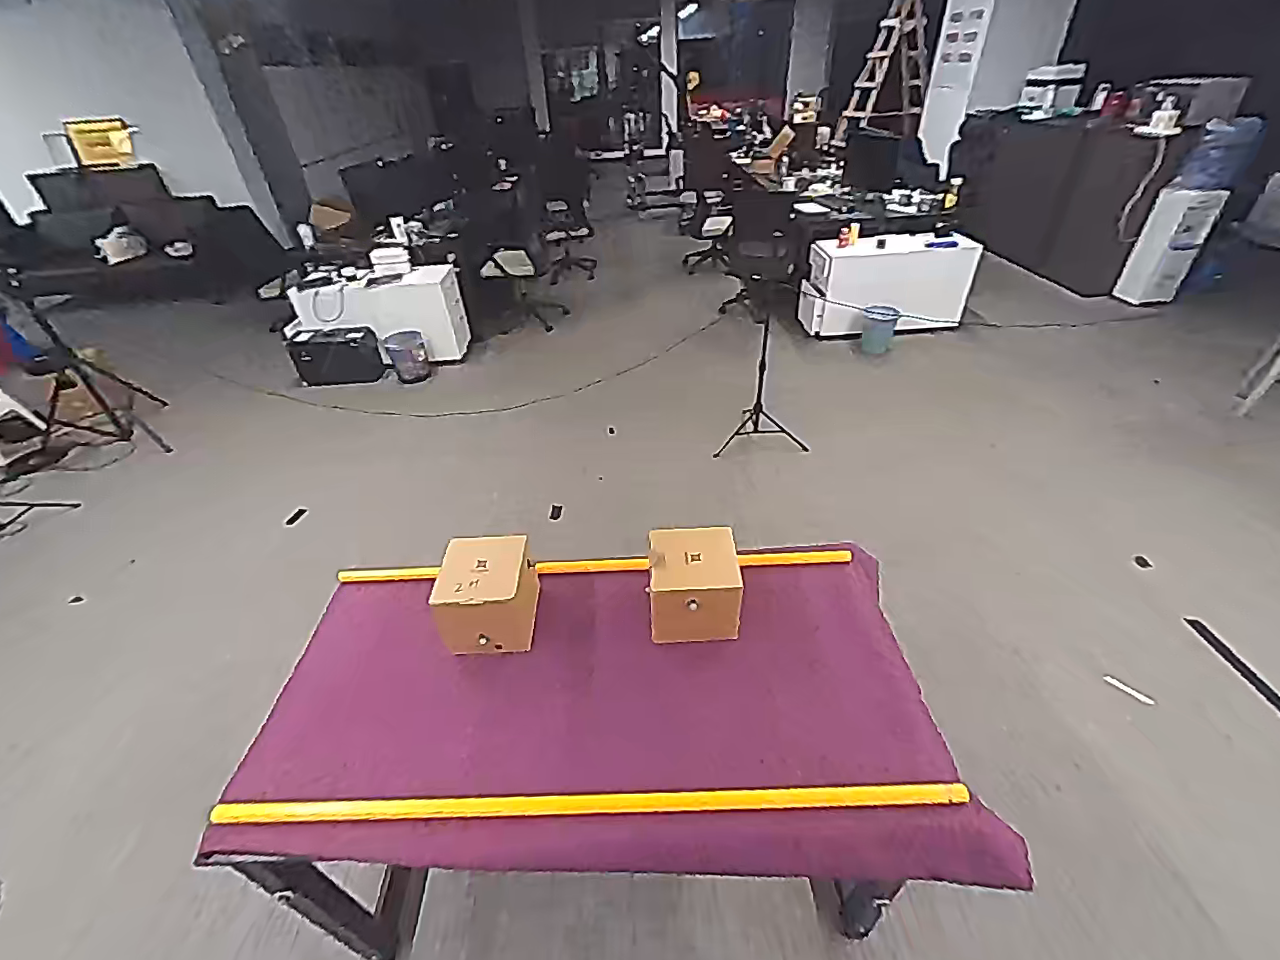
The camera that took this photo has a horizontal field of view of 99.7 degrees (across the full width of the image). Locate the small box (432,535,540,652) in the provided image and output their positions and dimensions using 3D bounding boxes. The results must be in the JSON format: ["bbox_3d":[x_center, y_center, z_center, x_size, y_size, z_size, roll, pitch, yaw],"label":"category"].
[{"bbox_3d":[-0.310,0.237,1.135,0.168,0.176,0.179,-3,39,2],"label":"small box"}]

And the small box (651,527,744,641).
[{"bbox_3d":[0.113,0.218,1.127,0.179,0.176,0.168,-3,39,2],"label":"small box"}]
